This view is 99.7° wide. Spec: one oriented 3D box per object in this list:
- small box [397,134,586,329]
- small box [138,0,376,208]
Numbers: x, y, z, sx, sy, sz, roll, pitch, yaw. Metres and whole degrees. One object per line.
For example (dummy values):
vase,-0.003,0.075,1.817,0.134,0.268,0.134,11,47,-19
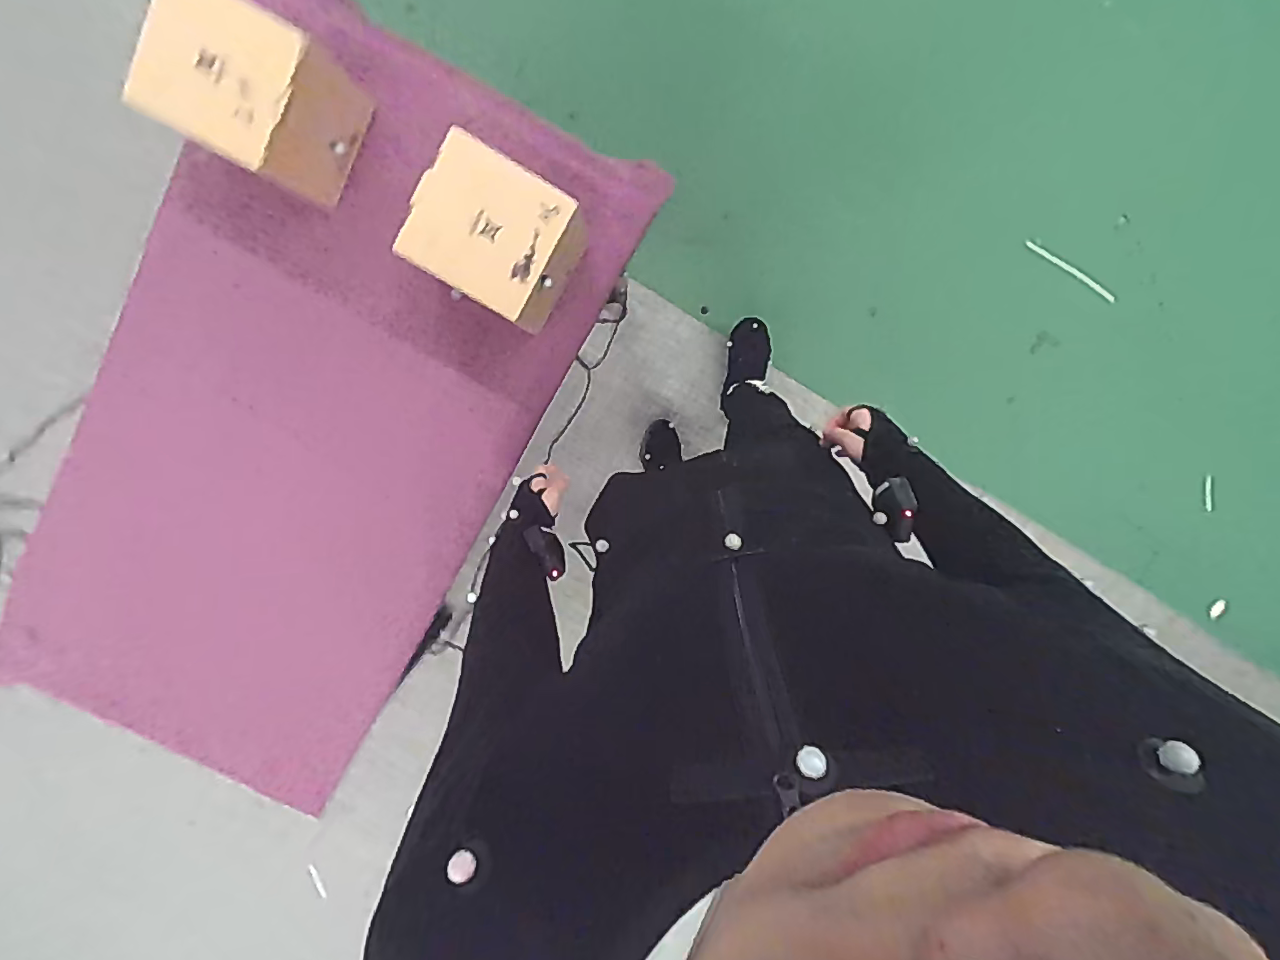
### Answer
small box,-0.195,-0.328,0.759,0.179,0.176,0.168,30,99,-4
small box,-0.504,-0.503,0.736,0.179,0.176,0.168,28,101,-4
